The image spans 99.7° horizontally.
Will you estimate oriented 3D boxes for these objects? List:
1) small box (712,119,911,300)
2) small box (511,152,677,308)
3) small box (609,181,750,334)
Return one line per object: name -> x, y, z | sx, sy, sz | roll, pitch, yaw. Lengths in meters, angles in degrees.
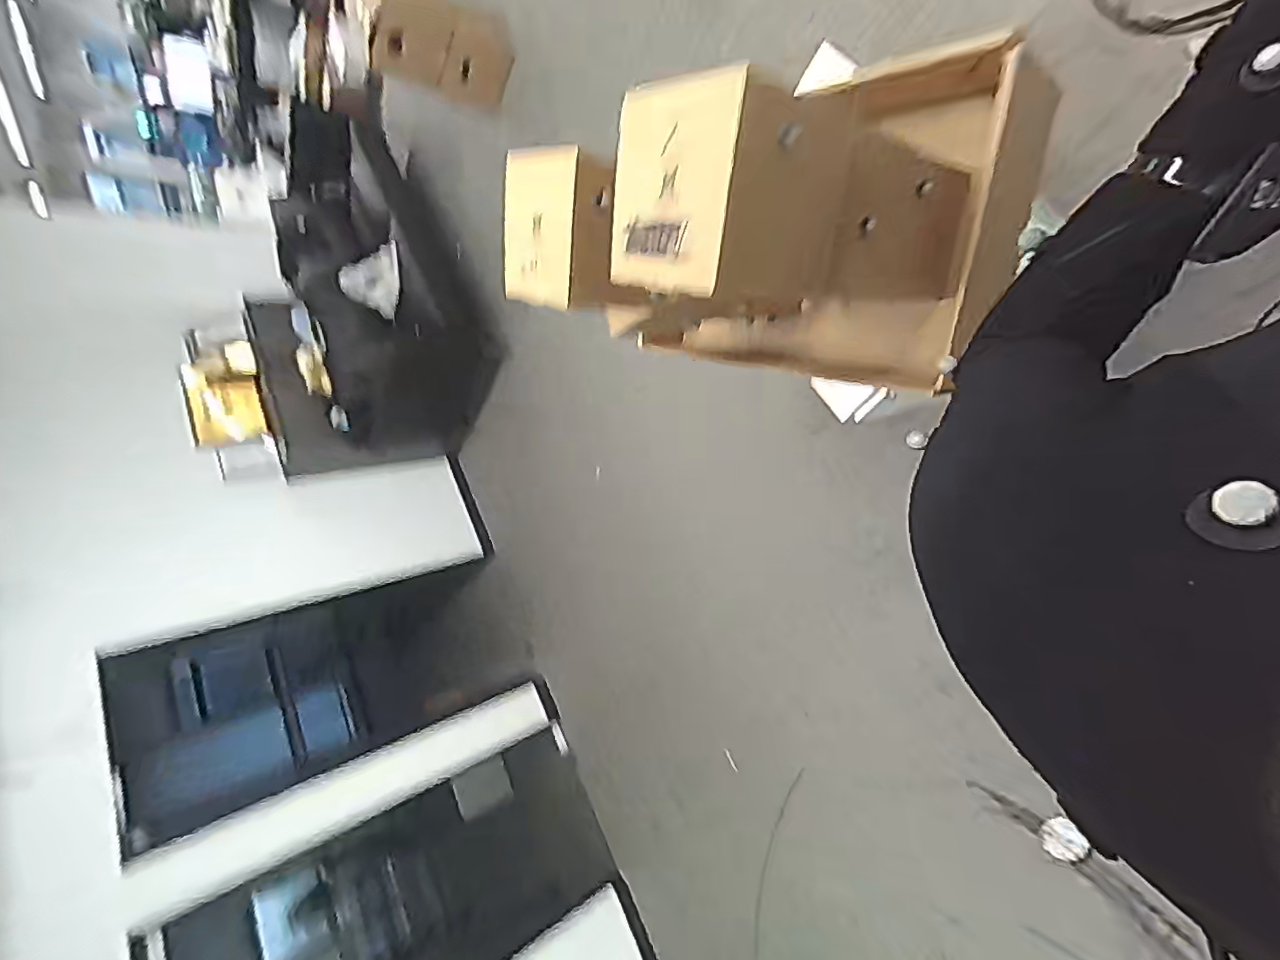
small box -> 0.215, -0.327, 0.686 | 0.168, 0.176, 0.179 | 26, 121, 47
small box -> -0.066, -0.346, 0.766 | 0.168, 0.176, 0.179 | 29, 122, 43
small box -> 0.052, -0.351, 0.886 | 0.168, 0.176, 0.179 | -15, 90, 51
